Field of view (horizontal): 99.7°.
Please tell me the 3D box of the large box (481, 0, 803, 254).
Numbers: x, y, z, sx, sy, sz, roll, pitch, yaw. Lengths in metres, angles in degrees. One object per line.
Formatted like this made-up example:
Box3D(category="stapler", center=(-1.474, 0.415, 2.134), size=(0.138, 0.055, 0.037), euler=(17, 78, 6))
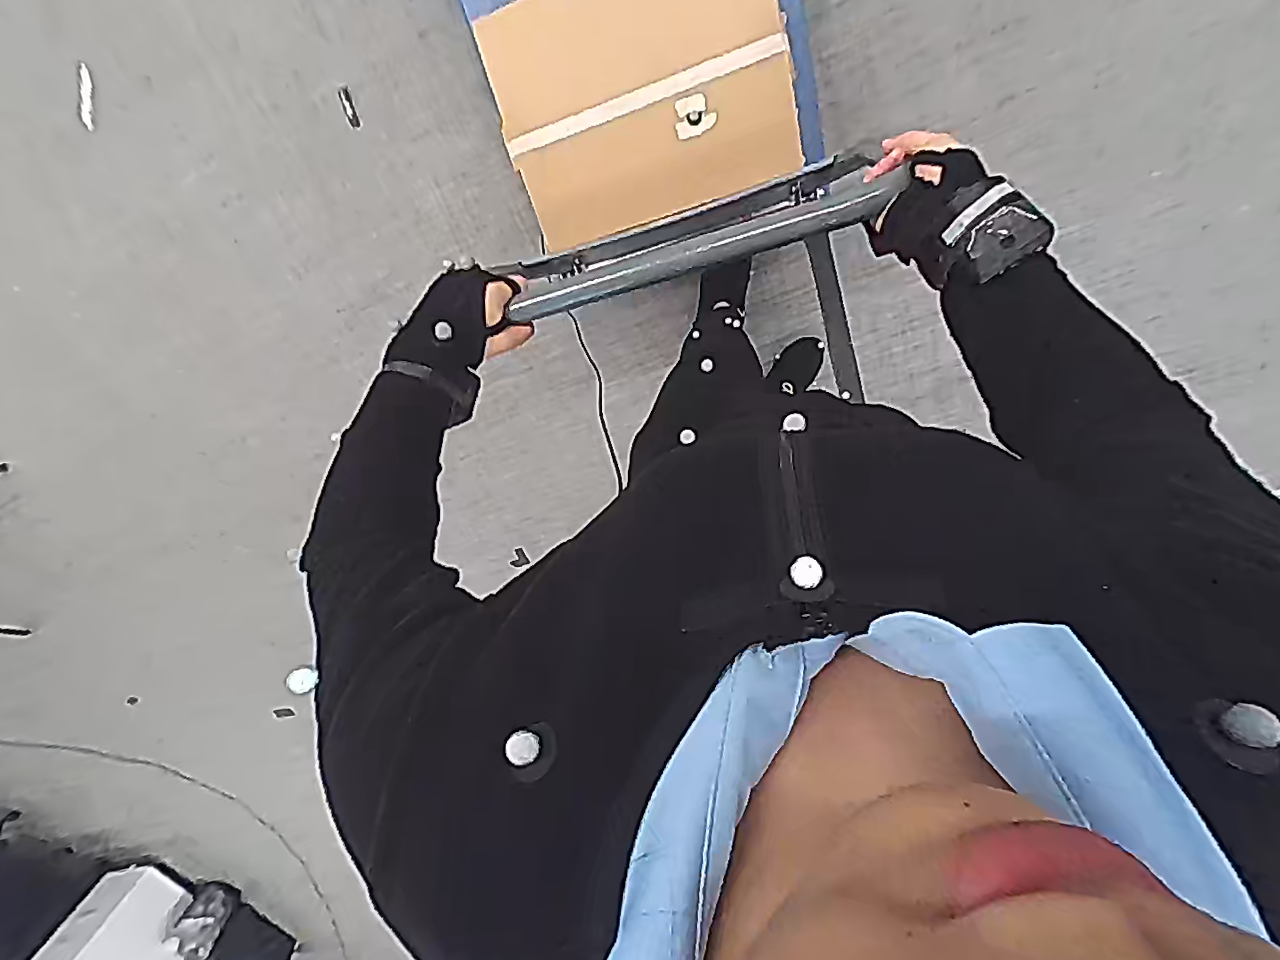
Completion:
Box3D(category="large box", center=(0.021, -0.605, 0.902), size=(0.408, 0.320, 0.320), euler=(-13, 115, 13))
